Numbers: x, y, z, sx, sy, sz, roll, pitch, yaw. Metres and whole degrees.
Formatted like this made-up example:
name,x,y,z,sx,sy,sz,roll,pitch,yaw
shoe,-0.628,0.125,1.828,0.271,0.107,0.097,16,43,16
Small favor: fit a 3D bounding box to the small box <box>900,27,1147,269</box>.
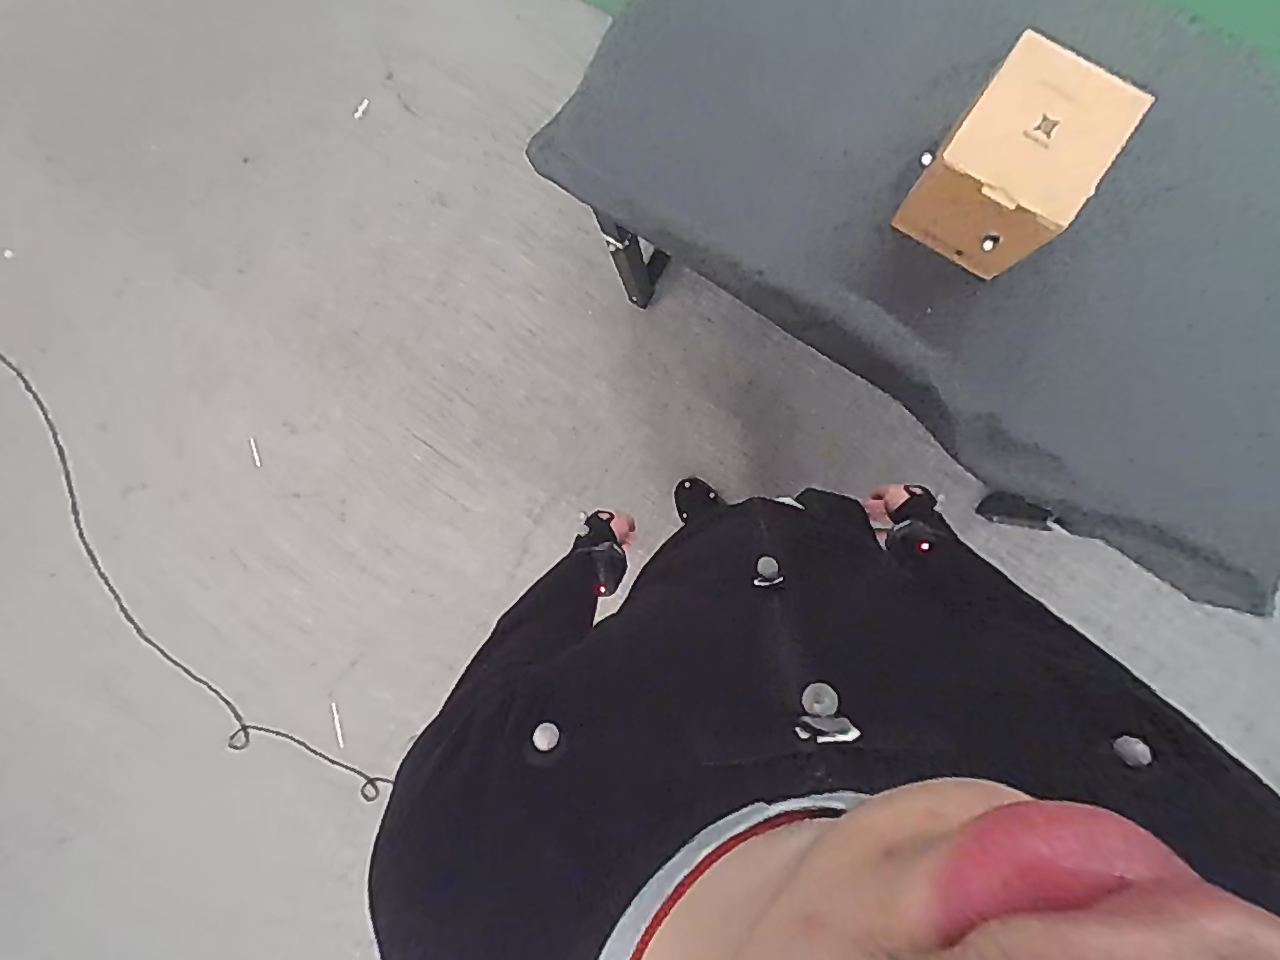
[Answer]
name,x,y,z,sx,sy,sz,roll,pitch,yaw
small box,0.473,-0.411,0.705,0.168,0.176,0.179,33,93,3
